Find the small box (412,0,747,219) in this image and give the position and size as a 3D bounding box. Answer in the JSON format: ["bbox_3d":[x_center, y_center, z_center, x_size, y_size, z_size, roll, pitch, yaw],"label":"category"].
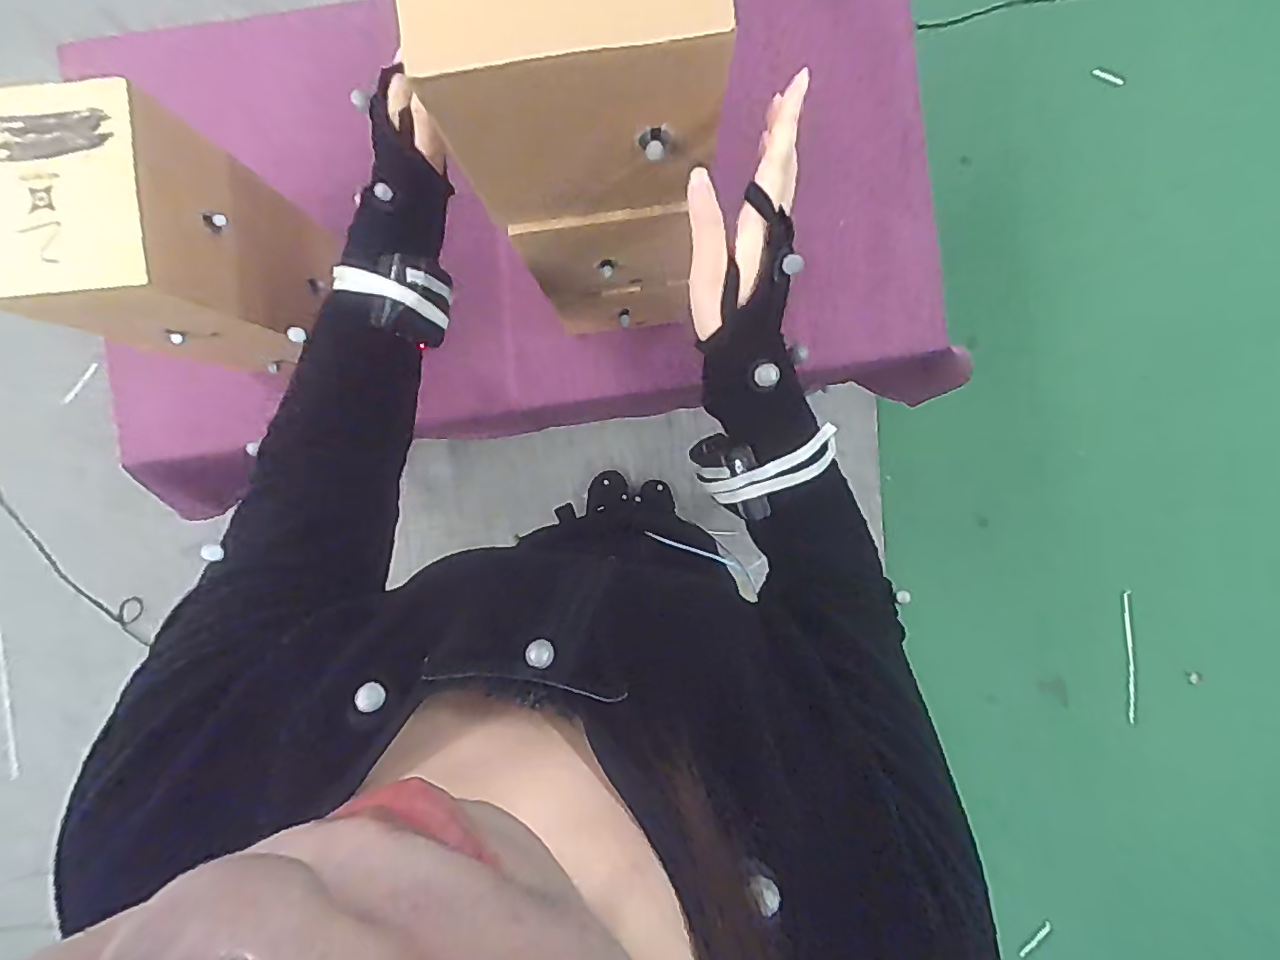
[{"bbox_3d":[-0.037,-0.299,0.360,0.179,0.176,0.168,-6,90,2],"label":"small box"}]

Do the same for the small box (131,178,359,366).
[{"bbox_3d":[-0.489,-0.254,0.695,0.168,0.176,0.179,-4,93,1],"label":"small box"}]

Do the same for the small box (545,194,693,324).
[{"bbox_3d":[-0.025,-0.305,0.689,0.168,0.176,0.179,-6,92,0],"label":"small box"}]
